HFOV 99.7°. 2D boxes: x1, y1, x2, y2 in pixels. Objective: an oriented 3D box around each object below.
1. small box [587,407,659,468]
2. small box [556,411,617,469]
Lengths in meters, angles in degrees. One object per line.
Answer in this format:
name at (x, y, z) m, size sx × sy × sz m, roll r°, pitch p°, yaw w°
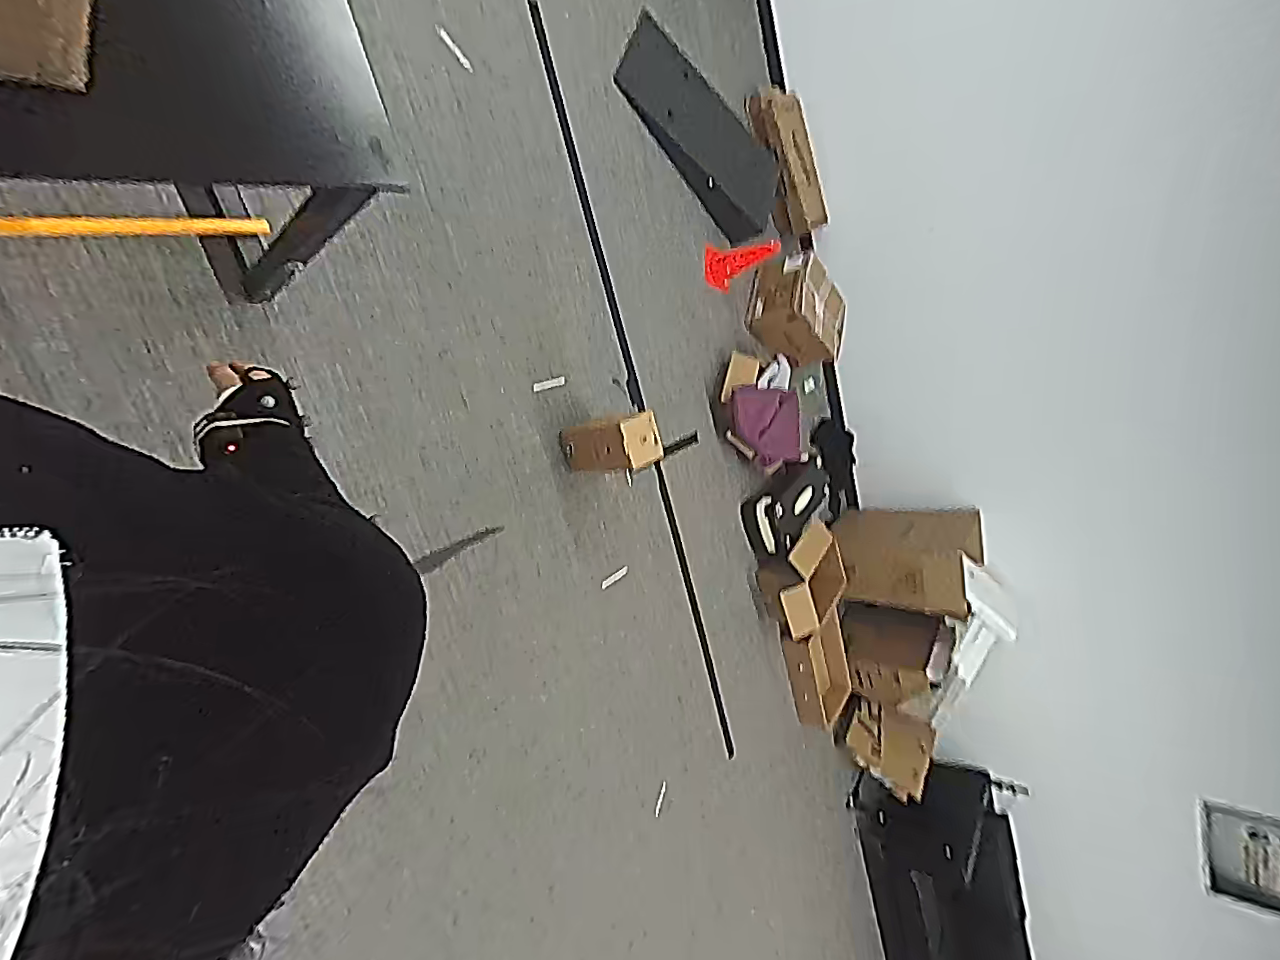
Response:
small box at (-0.065, -0.143, 1.876) m, size 0.179 × 0.176 × 0.168 m, roll -28°, pitch 108°, yaw -44°
small box at (-0.177, -0.146, 1.997) m, size 0.179 × 0.176 × 0.168 m, roll -30°, pitch 109°, yaw -43°
